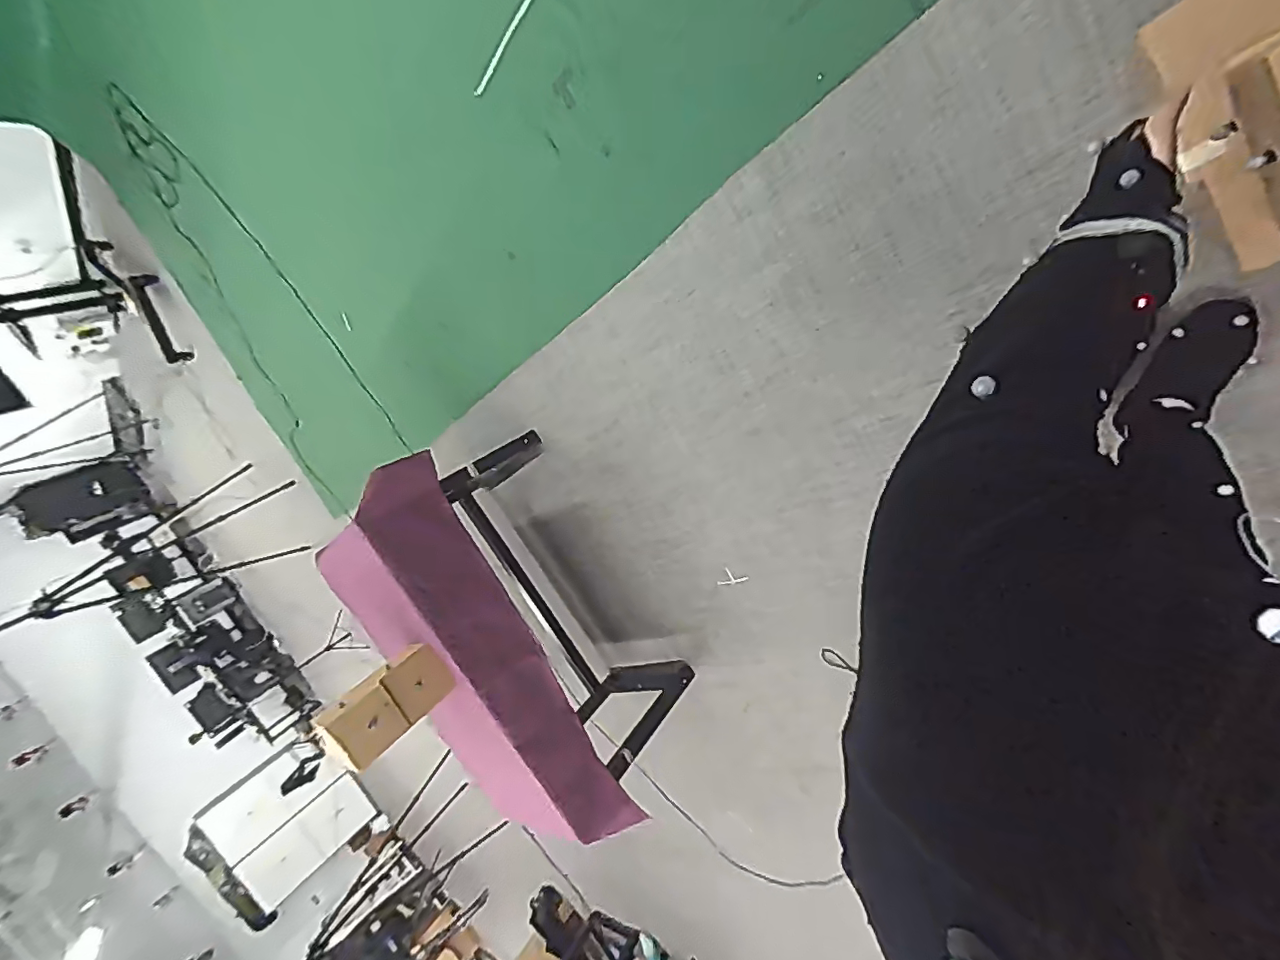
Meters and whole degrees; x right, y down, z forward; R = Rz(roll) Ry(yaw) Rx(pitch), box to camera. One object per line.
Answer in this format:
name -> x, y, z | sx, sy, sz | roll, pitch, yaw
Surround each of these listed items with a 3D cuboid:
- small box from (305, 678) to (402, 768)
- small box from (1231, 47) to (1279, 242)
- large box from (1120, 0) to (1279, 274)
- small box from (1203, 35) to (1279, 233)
small box -> -0.821, 0.694, 1.564 | 0.179, 0.176, 0.168 | -18, 104, 44
small box -> 0.572, -0.276, 0.384 | 0.179, 0.176, 0.168 | -22, 101, 44
large box -> 0.855, -0.495, 0.603 | 0.408, 0.320, 0.320 | -24, 99, 44
small box -> 0.664, -0.355, 0.497 | 0.179, 0.176, 0.168 | -22, 101, 44
